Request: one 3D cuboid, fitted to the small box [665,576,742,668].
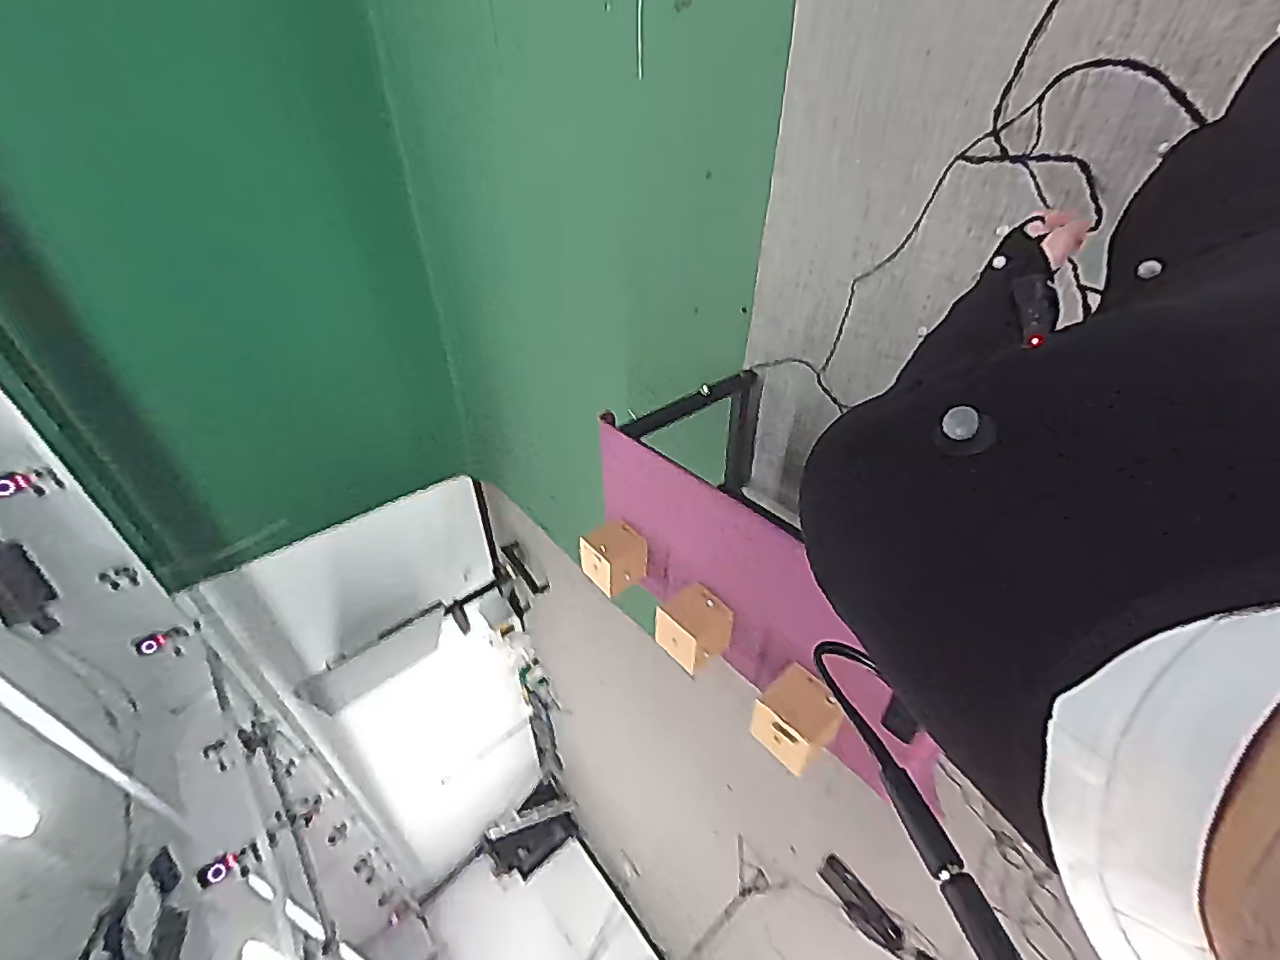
[{"bbox_3d":[0.196,0.436,1.676,0.168,0.176,0.179,36,140,36],"label":"small box"}]

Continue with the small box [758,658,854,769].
[{"bbox_3d":[0.442,0.615,1.441,0.168,0.176,0.179,35,141,38],"label":"small box"}]

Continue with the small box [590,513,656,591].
[{"bbox_3d":[-0.058,0.250,1.908,0.168,0.176,0.179,36,141,35],"label":"small box"}]
